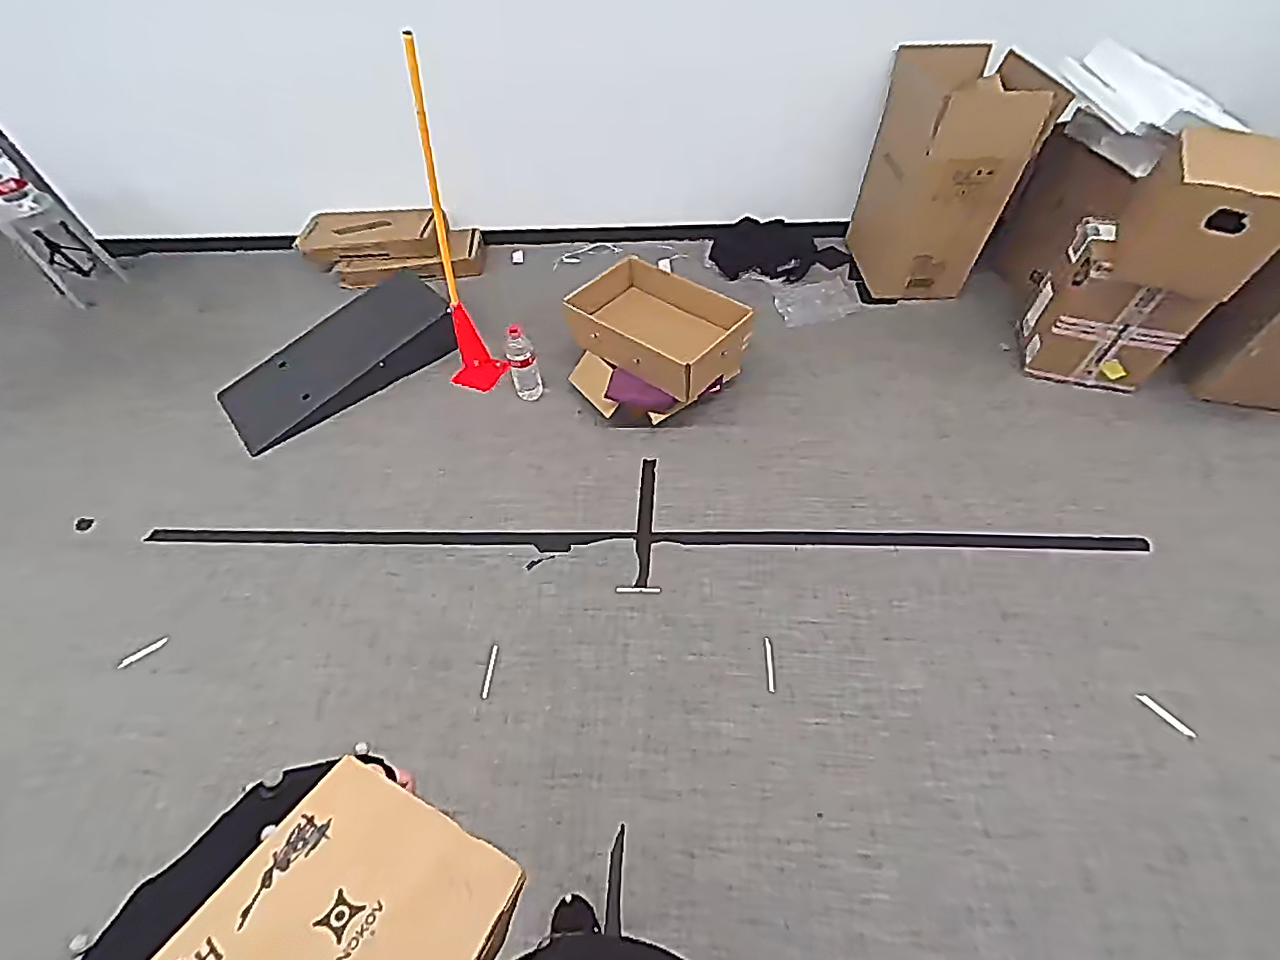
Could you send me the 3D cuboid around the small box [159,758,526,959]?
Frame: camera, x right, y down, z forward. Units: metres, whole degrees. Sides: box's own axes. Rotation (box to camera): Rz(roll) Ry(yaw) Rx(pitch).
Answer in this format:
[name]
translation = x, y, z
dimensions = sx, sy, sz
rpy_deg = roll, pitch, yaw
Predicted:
[small box]
translation = -0.214, 0.363, 0.413
dimensions = 0.179, 0.176, 0.168
rpy_deg = 25, 35, 10
